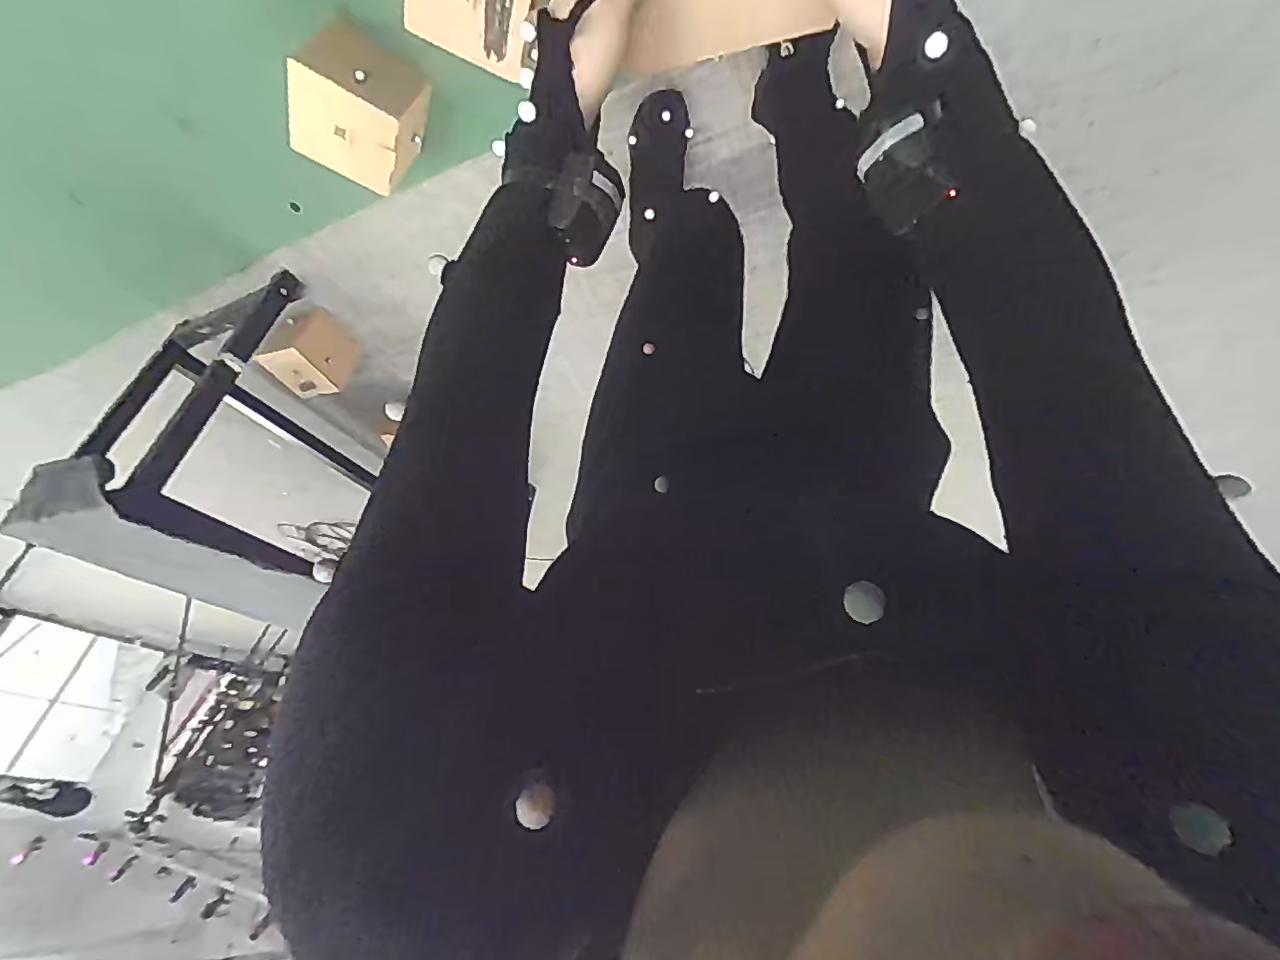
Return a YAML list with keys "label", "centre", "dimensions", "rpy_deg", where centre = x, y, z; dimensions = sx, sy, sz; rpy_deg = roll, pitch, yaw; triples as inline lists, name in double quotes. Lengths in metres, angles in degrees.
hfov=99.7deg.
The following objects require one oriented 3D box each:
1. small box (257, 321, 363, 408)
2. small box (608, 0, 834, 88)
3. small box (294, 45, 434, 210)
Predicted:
- label: "small box"
  centre: [-0.965, -0.340, 1.601]
  dimensions: [0.168, 0.176, 0.179]
  rpy_deg: [-5, 145, 21]
- label: "small box"
  centre: [0.063, -0.462, 0.440]
  dimensions: [0.179, 0.176, 0.168]
  rpy_deg: [-3, 145, 15]
- label: "small box"
  centre: [-0.505, -0.650, 0.995]
  dimensions: [0.179, 0.176, 0.168]
  rpy_deg: [21, 146, -21]
